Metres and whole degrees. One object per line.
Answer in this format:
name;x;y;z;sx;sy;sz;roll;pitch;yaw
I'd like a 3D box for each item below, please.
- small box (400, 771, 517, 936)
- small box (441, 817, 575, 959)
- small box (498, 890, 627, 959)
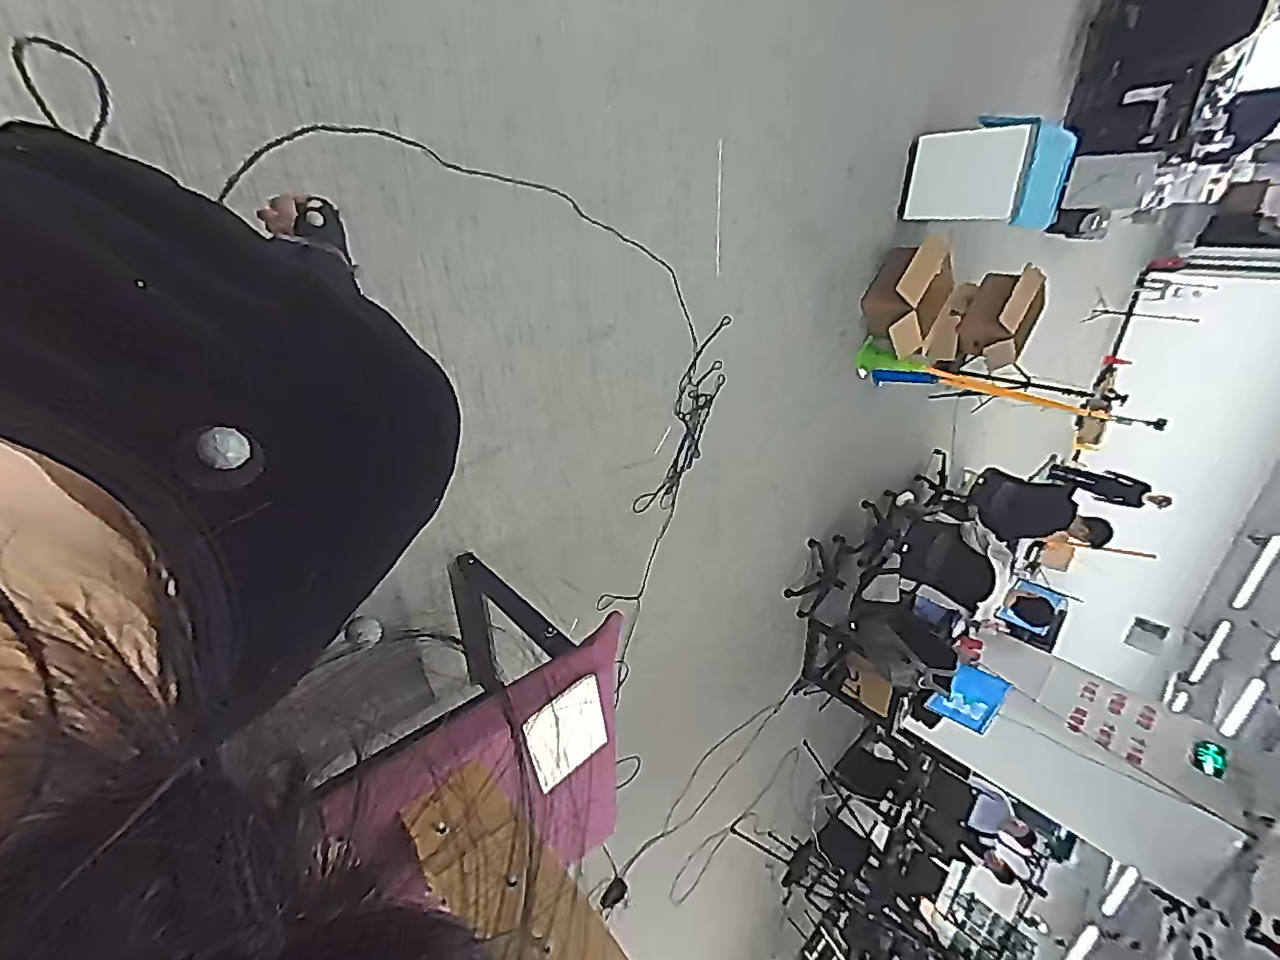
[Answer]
small box;-0.345;0.705;1.049;0.168;0.176;0.179;-20;123;-38
small box;-0.230;0.746;0.940;0.179;0.176;0.168;-21;123;-38
small box;-0.119;0.799;0.830;0.179;0.176;0.168;-20;123;-37
